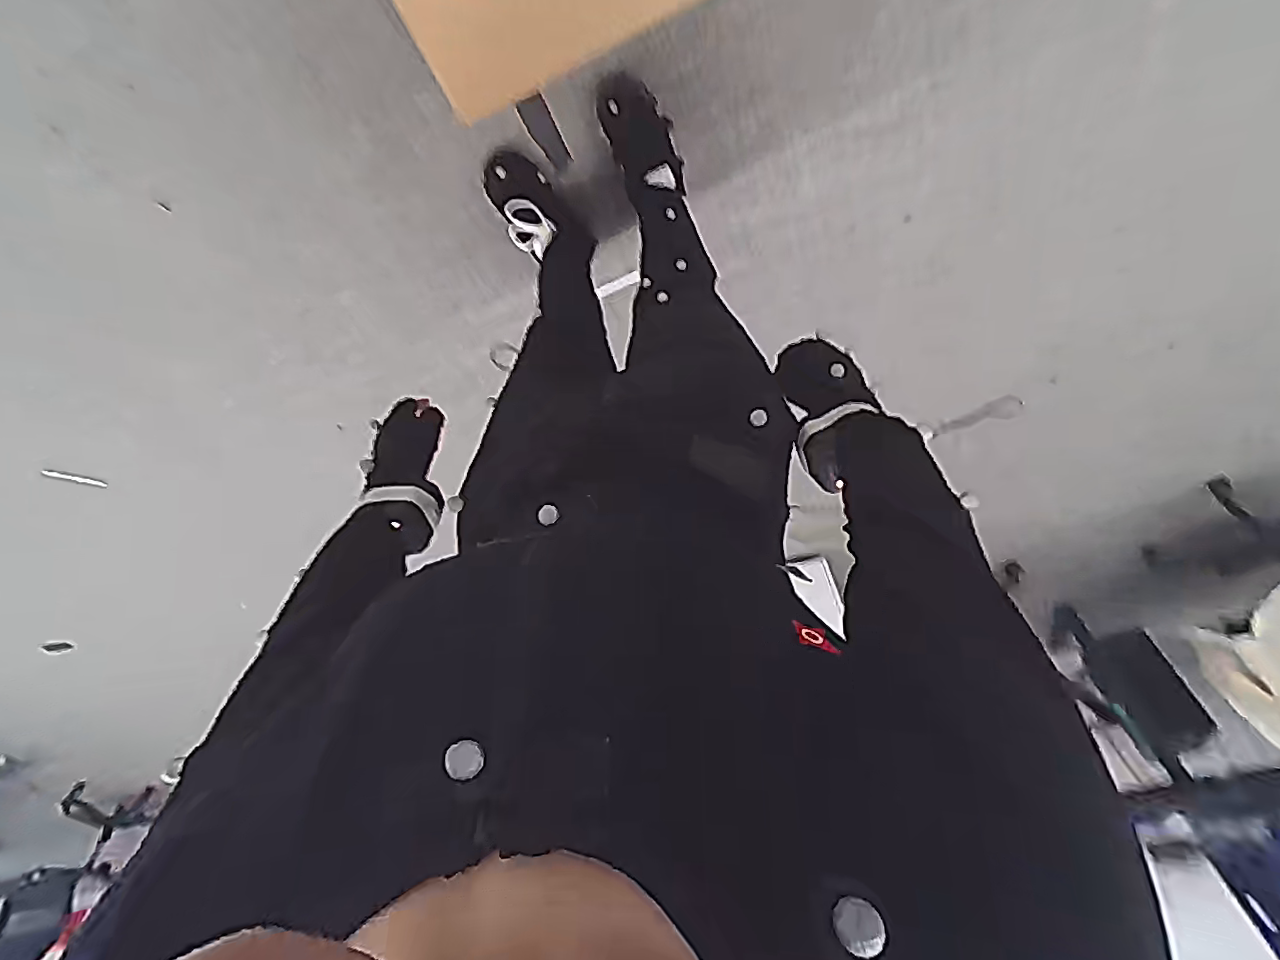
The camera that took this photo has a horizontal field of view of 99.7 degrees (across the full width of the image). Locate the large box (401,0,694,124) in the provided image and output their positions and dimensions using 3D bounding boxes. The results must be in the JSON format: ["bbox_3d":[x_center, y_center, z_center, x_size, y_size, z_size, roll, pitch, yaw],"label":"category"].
[{"bbox_3d":[-0.111,-0.732,0.668,0.408,0.320,0.320,-19,135,15],"label":"large box"}]
